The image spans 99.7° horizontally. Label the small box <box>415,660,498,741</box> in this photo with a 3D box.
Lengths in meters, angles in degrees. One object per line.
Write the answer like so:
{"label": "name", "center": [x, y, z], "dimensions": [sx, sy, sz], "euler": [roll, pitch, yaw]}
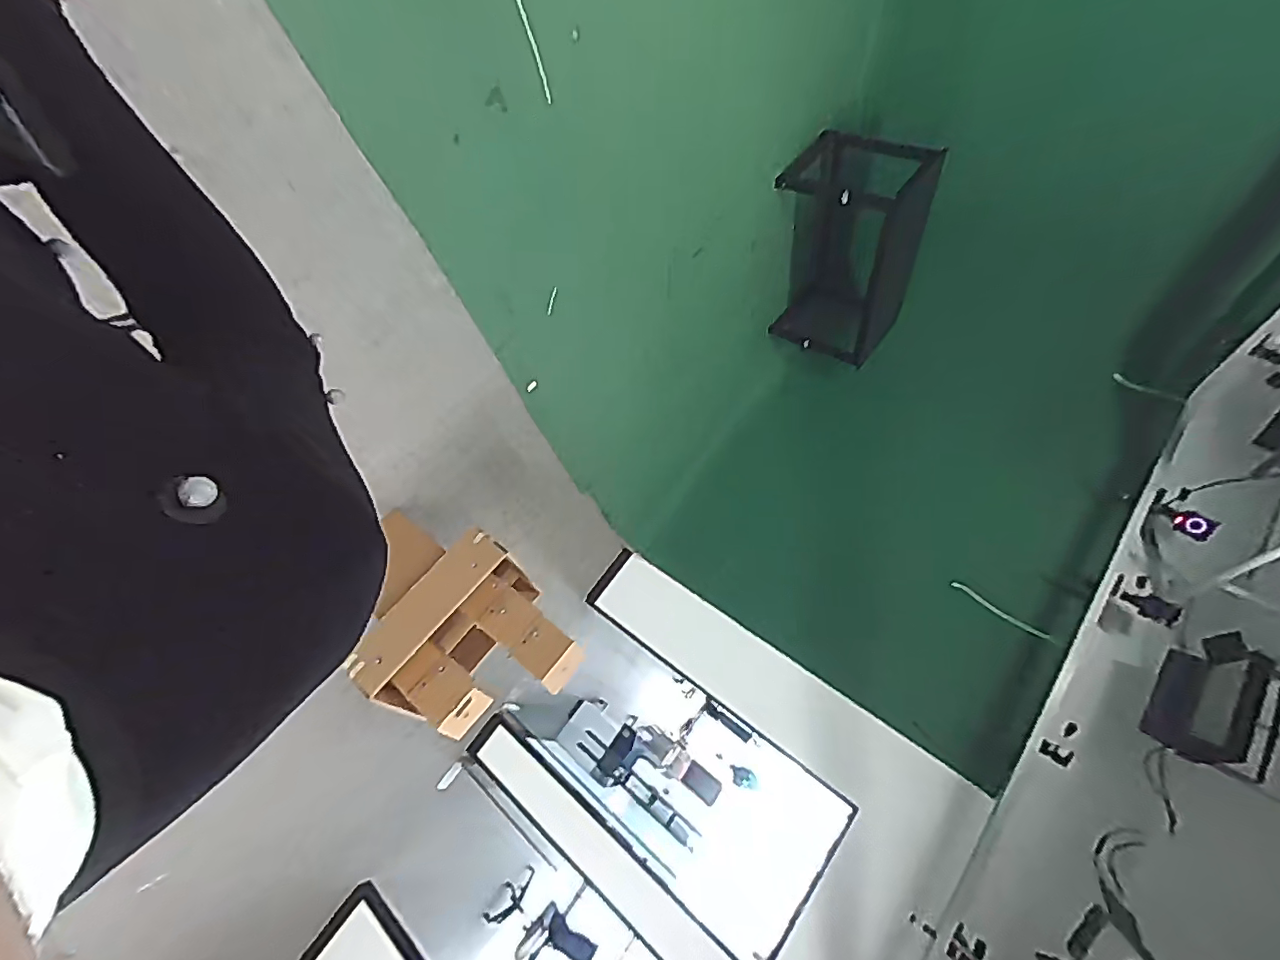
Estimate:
{"label": "small box", "center": [-0.615, 0.734, 1.810], "dimensions": [0.168, 0.176, 0.179], "euler": [-46, 150, -21]}

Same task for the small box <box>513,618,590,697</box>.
{"label": "small box", "center": [-0.298, 0.600, 1.836], "dimensions": [0.168, 0.176, 0.179], "euler": [-47, 151, -21]}

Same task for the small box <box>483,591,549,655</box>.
{"label": "small box", "center": [-0.420, 0.523, 1.913], "dimensions": [0.168, 0.176, 0.179], "euler": [-47, 150, -22]}

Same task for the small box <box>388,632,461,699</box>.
{"label": "small box", "center": [-0.739, 0.663, 1.893], "dimensions": [0.168, 0.176, 0.179], "euler": [-47, 149, -19]}
